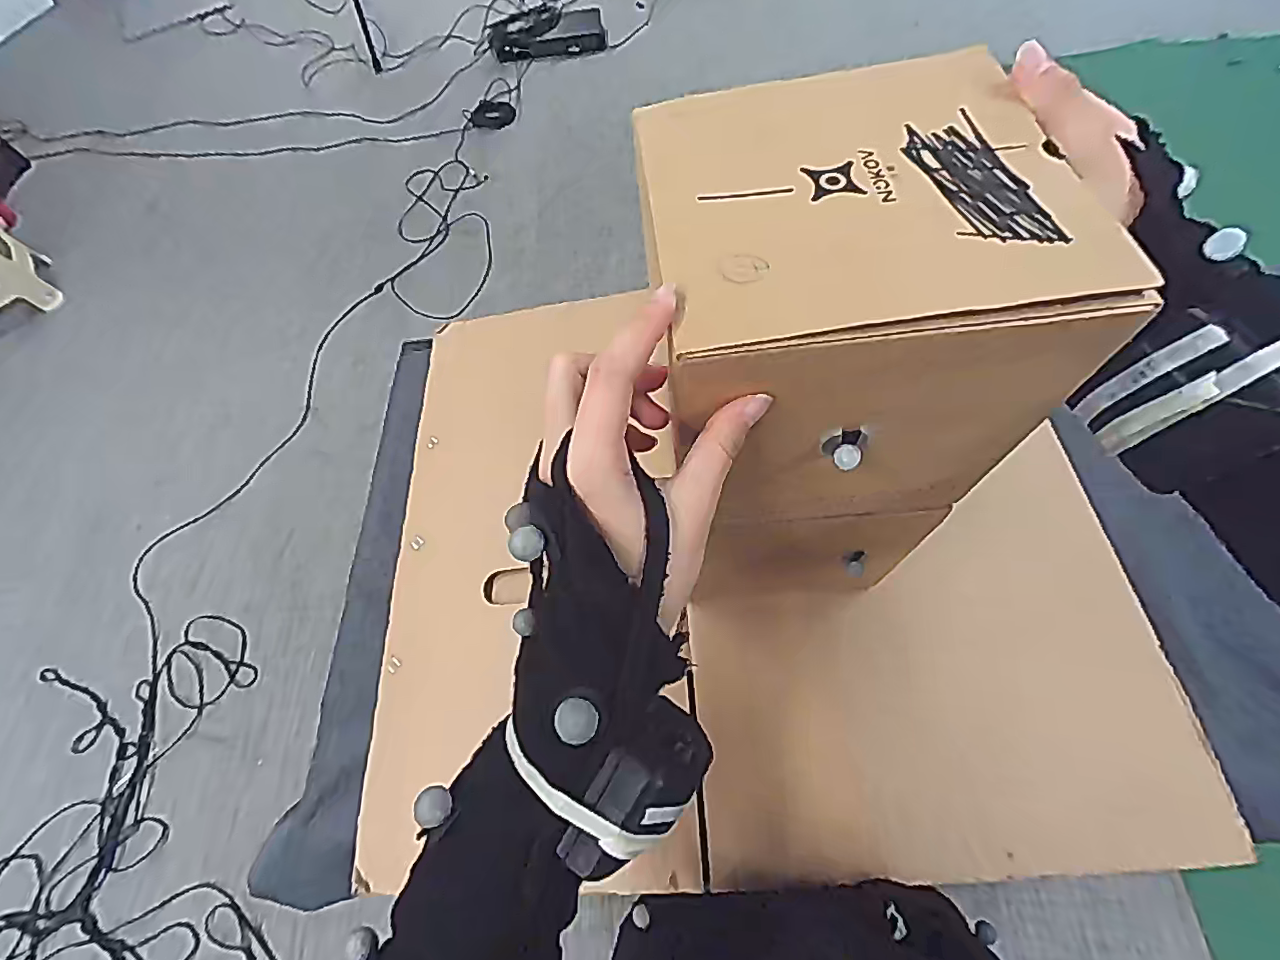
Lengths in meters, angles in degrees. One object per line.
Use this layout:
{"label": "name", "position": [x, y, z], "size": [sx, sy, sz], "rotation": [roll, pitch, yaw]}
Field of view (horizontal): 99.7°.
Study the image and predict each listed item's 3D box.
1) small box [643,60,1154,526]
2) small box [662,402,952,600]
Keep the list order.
{"label": "small box", "position": [0.098, -0.085, 0.300], "size": [0.179, 0.176, 0.168], "rotation": [-7, 62, 3]}
{"label": "small box", "position": [0.112, -0.007, 0.446], "size": [0.179, 0.176, 0.168], "rotation": [-6, 61, 3]}
